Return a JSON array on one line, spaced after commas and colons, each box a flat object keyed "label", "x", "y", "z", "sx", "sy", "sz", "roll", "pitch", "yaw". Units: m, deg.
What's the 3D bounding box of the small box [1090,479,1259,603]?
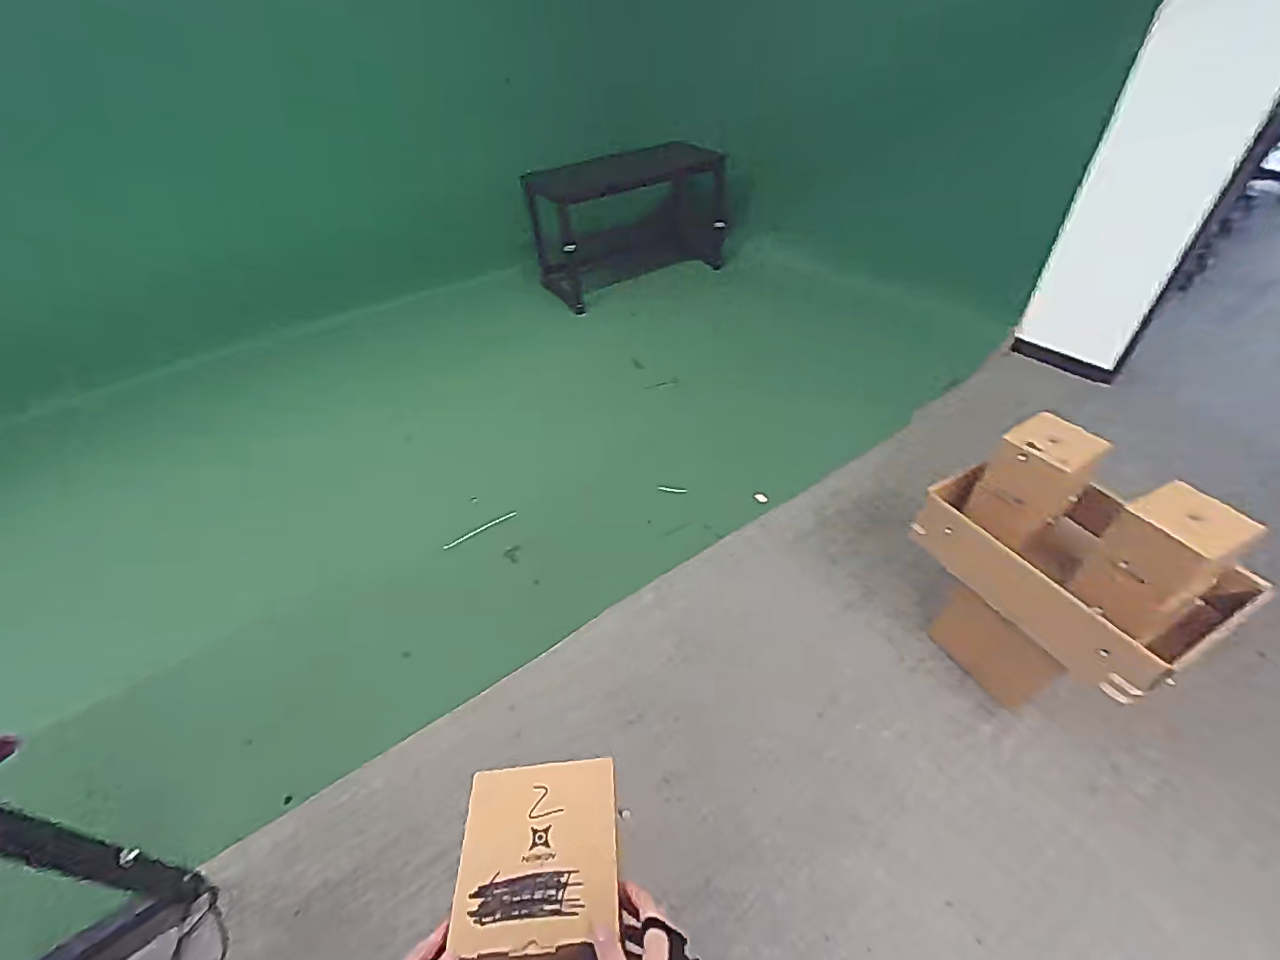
[{"label": "small box", "x": 1.140, "y": 0.133, "z": 1.171, "sx": 0.179, "sy": 0.176, "sz": 0.168, "roll": -20, "pitch": 45, "yaw": -15}]

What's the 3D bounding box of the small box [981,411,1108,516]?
[{"label": "small box", "x": 1.007, "y": -0.041, "z": 1.364, "sx": 0.179, "sy": 0.176, "sz": 0.168, "roll": -25, "pitch": 46, "yaw": -20}]

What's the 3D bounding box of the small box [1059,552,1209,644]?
[{"label": "small box", "x": 1.153, "y": 0.253, "z": 1.280, "sx": 0.179, "sy": 0.176, "sz": 0.168, "roll": -20, "pitch": 45, "yaw": -14}]
